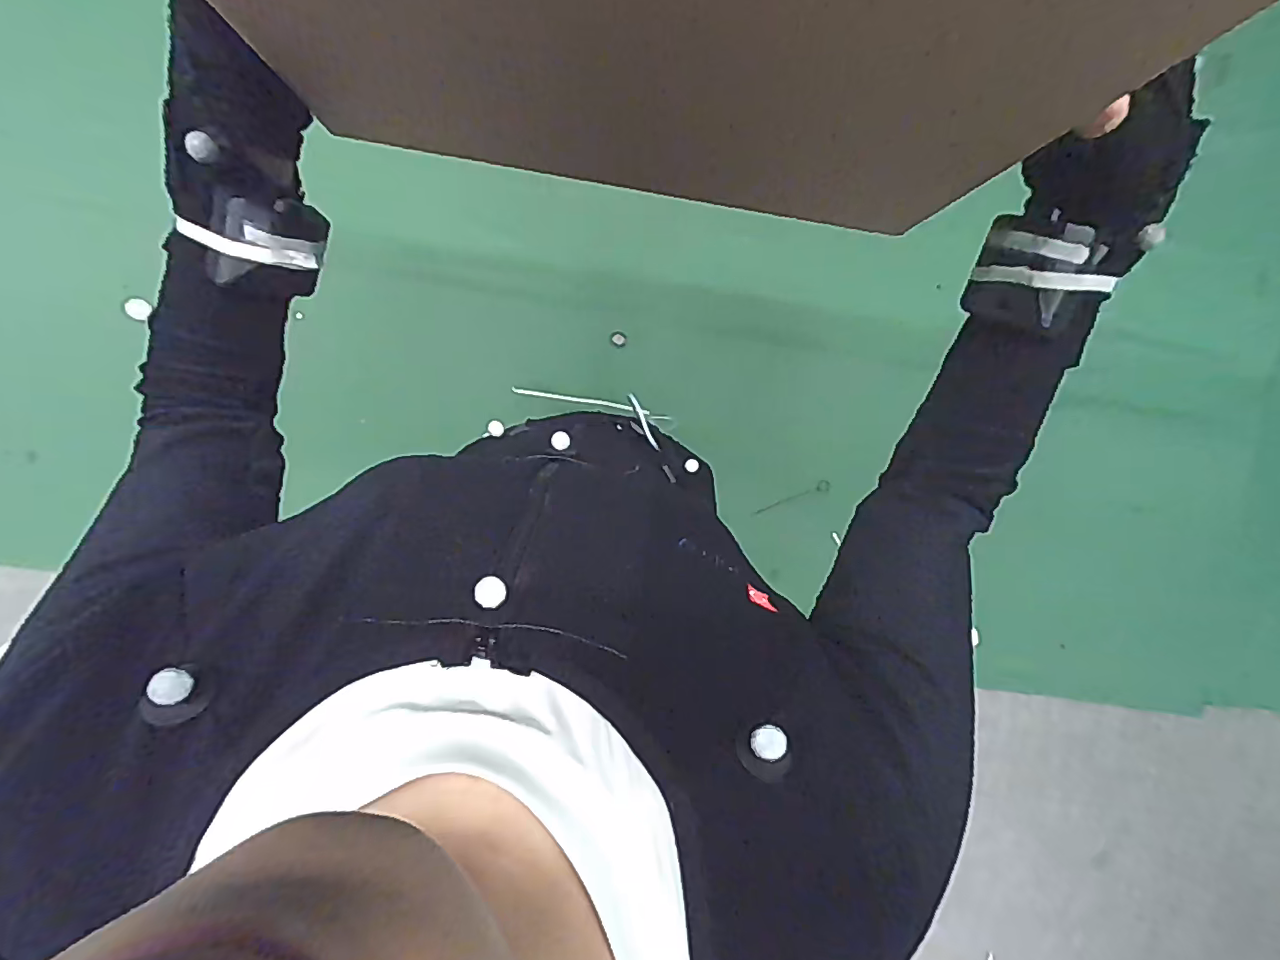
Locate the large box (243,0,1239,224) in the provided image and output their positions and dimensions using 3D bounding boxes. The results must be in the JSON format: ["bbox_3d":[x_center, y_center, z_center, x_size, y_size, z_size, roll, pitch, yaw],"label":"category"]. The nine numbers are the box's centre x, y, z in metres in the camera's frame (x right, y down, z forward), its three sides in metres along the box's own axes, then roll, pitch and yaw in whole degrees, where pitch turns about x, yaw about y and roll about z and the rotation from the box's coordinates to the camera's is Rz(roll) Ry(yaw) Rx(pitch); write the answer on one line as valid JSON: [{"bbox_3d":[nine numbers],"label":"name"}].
[{"bbox_3d":[0.030,-0.343,0.217,0.408,0.320,0.320,8,96,-6],"label":"large box"}]
